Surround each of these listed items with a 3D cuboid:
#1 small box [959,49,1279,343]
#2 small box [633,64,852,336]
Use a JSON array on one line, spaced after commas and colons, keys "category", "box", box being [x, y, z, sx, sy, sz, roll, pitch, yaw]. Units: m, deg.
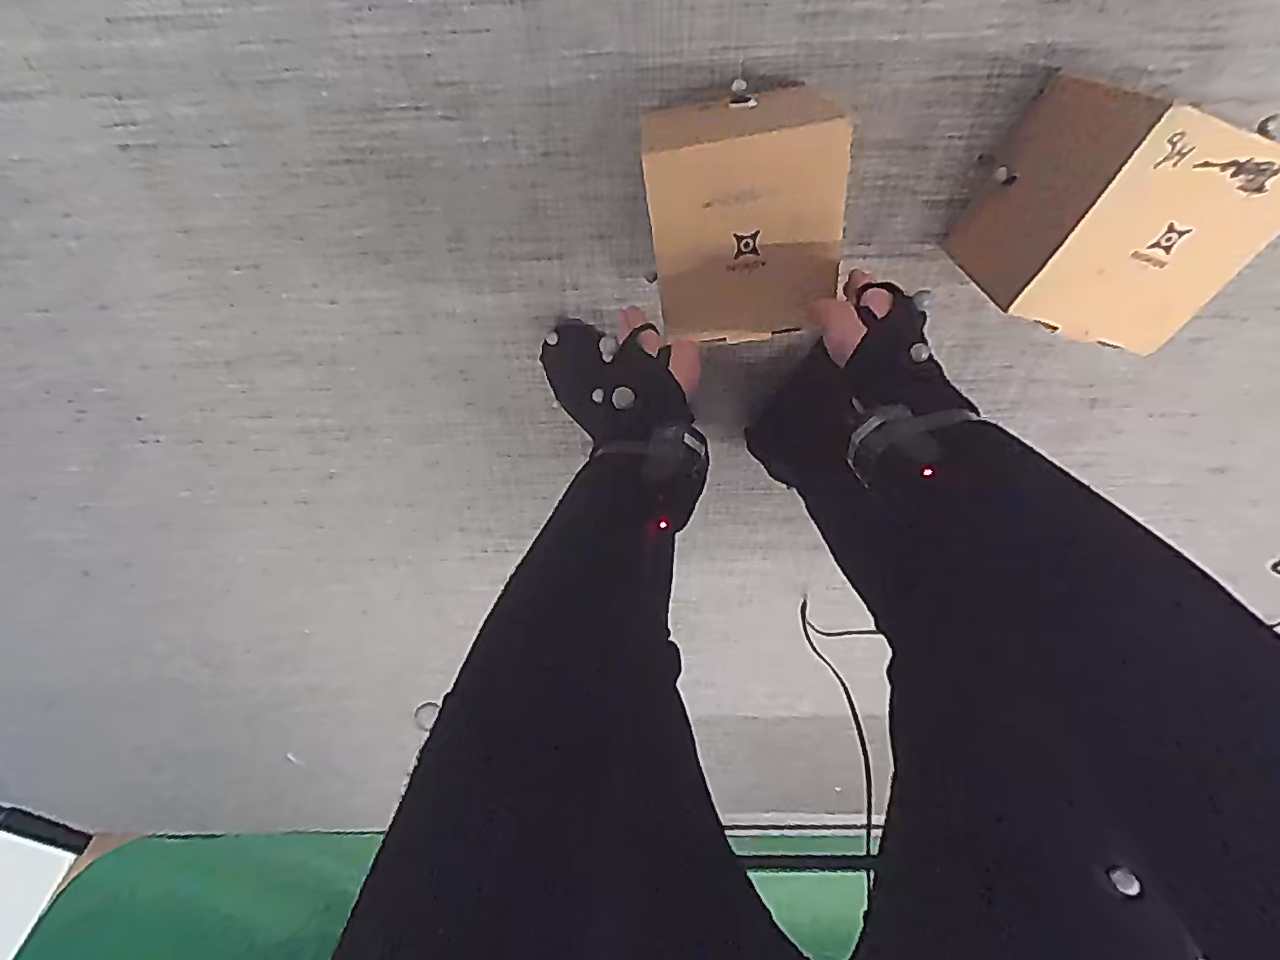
[{"category": "small box", "box": [0.439, -0.264, 0.508, 0.168, 0.176, 0.179, 13, 134, -10]}, {"category": "small box", "box": [0.089, -0.266, 0.518, 0.168, 0.176, 0.179, -7, 133, 7]}]
